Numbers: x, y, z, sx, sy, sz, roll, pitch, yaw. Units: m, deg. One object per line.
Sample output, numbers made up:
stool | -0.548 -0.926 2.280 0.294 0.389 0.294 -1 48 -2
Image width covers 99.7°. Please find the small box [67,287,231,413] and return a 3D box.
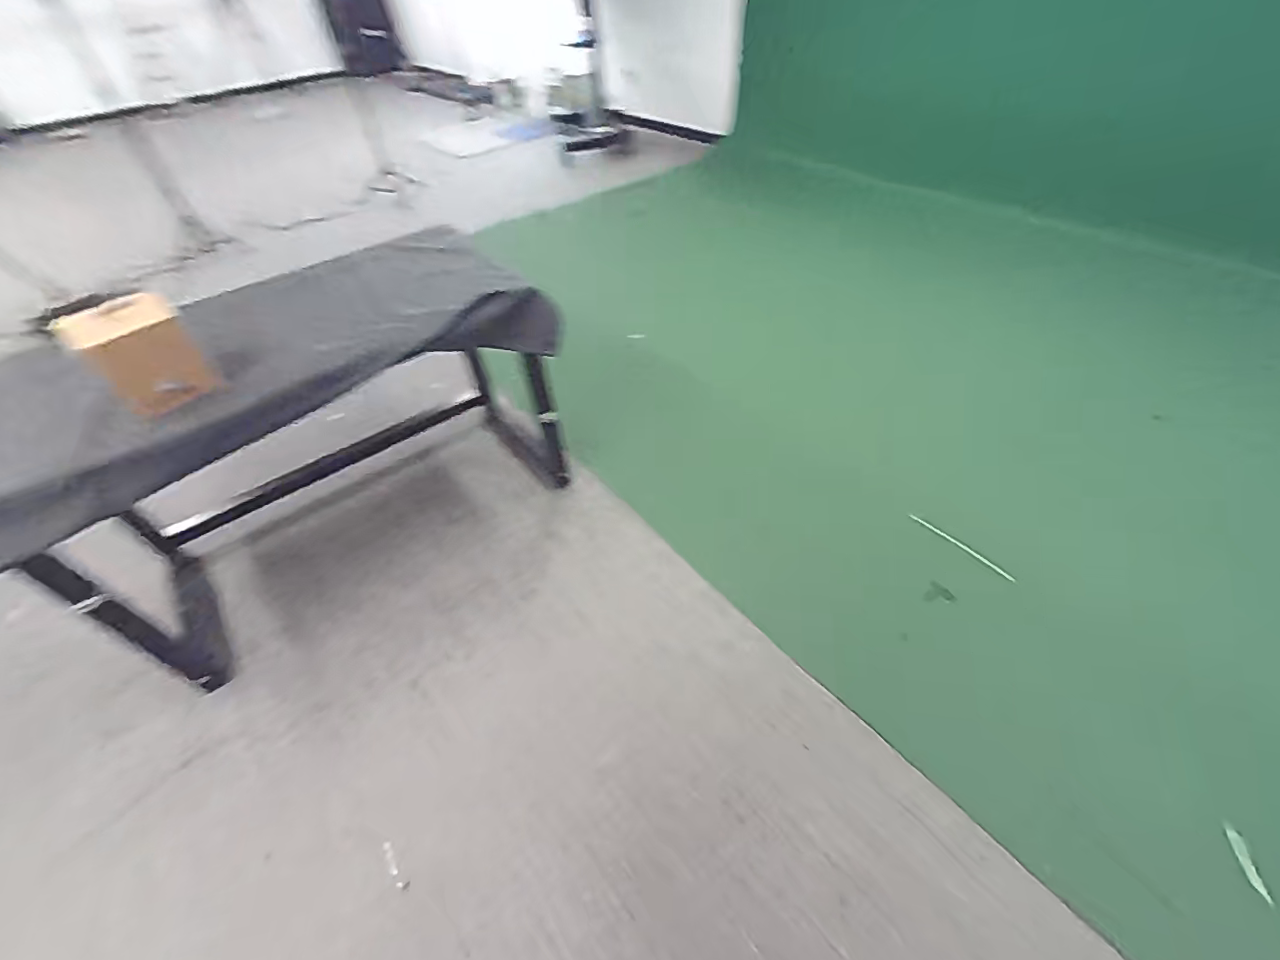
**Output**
small box | -0.990 -0.263 1.100 0.179 0.176 0.168 32 56 29
